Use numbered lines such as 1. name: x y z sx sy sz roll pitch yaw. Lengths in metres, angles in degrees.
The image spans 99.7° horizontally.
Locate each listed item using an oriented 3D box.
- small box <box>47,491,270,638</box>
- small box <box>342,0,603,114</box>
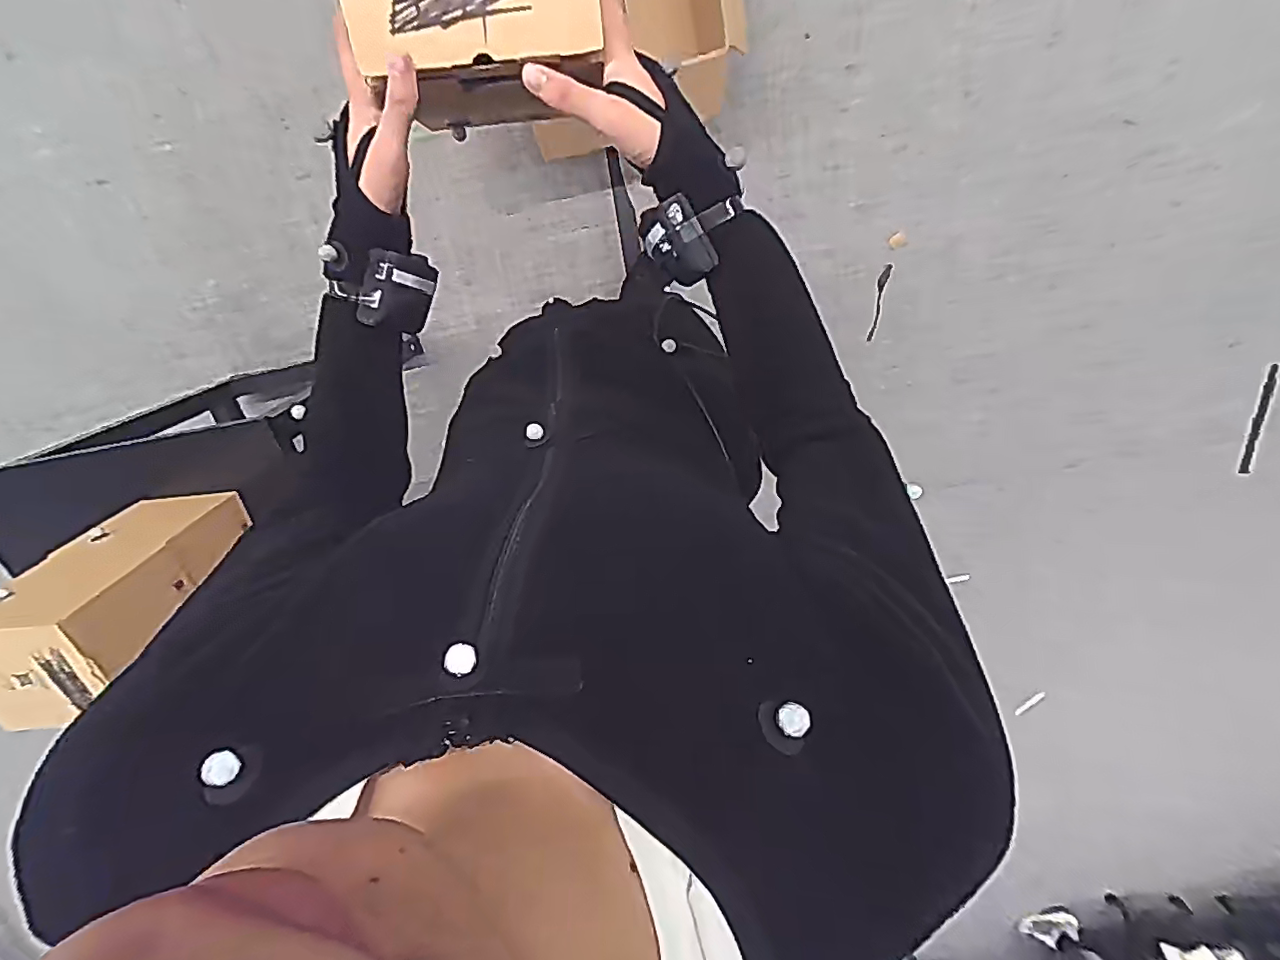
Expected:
1. small box: -0.759 0.132 0.878 0.179 0.176 0.168 -5 117 2
2. small box: -0.117 -0.386 0.394 0.168 0.176 0.179 -7 113 -2
